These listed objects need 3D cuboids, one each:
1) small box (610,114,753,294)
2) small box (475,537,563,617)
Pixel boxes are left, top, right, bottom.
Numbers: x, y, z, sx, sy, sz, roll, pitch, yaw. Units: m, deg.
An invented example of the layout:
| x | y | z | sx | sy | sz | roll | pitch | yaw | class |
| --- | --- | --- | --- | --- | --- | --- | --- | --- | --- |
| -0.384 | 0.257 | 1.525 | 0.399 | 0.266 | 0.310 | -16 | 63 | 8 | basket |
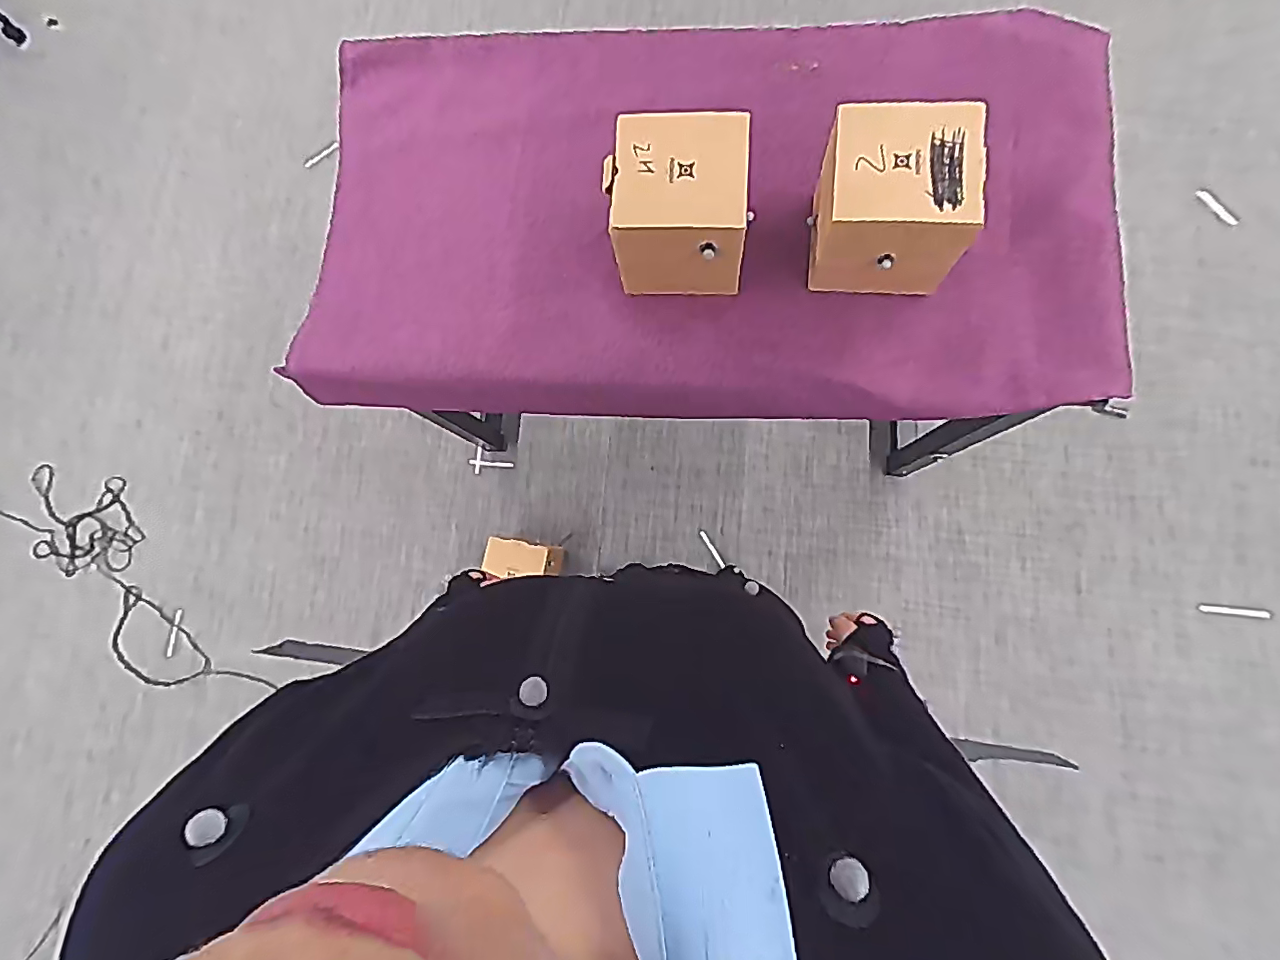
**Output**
| x | y | z | sx | sy | sz | roll | pitch | yaw | class |
| --- | --- | --- | --- | --- | --- | --- | --- | --- | --- |
| 0.061 | -0.380 | 0.769 | 0.179 | 0.176 | 0.168 | 3 | 80 | 7 | small box |
| -0.317 | 0.258 | 1.455 | 0.168 | 0.176 | 0.179 | 10 | 82 | 8 | small box |
